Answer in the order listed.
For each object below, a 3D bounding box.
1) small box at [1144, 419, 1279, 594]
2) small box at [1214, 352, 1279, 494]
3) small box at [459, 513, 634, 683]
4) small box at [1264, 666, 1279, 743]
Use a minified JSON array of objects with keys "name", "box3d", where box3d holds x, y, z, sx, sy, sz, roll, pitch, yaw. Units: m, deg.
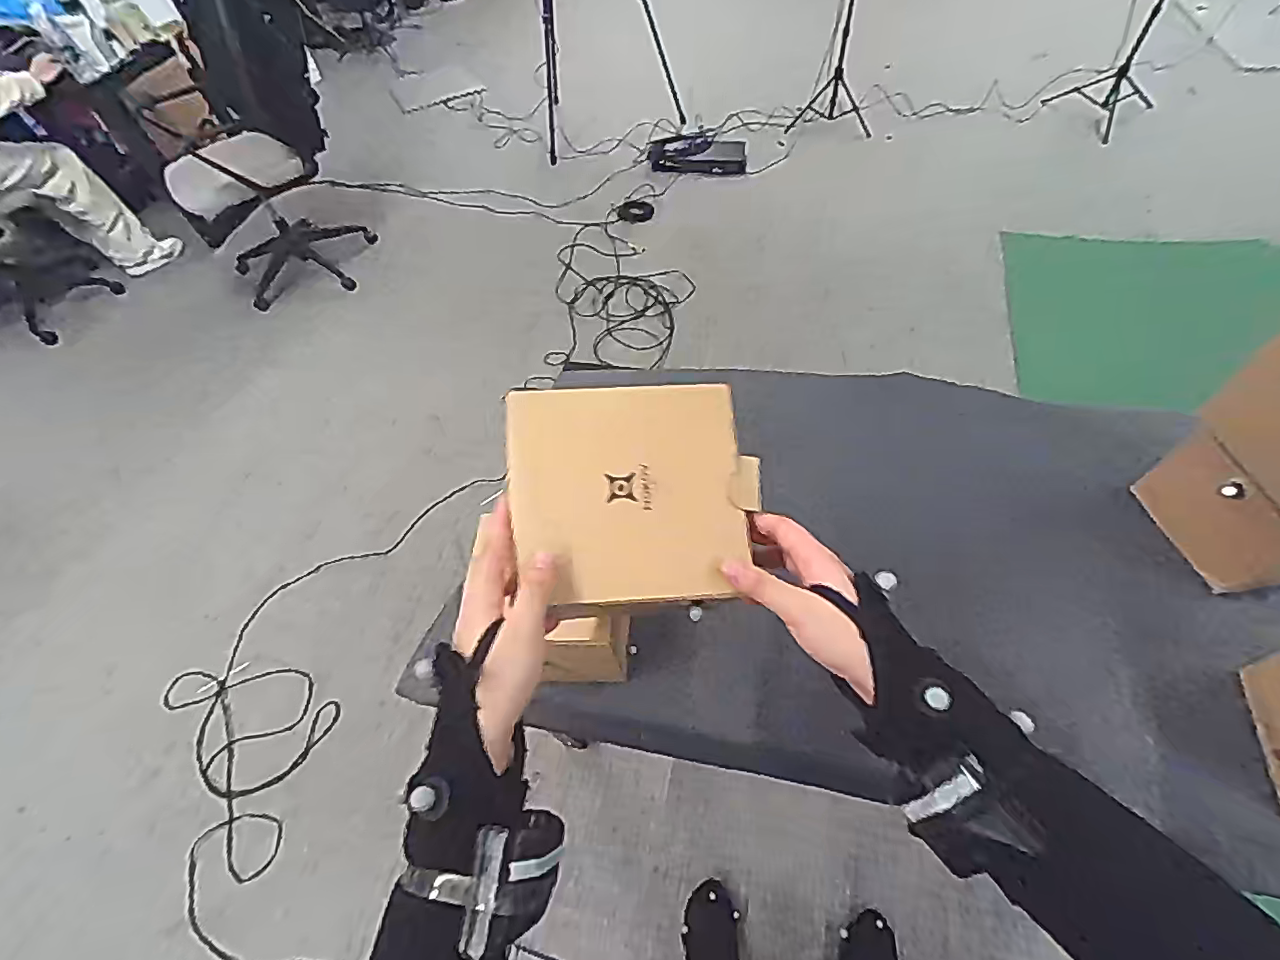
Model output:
[{"name":"small box","box3d":[0.808,0.021,0.677,0.168,0.176,0.179,-11,57,2]},{"name":"small box","box3d":[0.769,-0.073,0.546,0.168,0.176,0.179,-9,55,5]},{"name":"small box","box3d":[-0.102,0.155,0.690,0.179,0.176,0.168,-2,56,6]},{"name":"small box","box3d":[0.771,0.256,0.514,0.179,0.176,0.168,12,54,16]}]
